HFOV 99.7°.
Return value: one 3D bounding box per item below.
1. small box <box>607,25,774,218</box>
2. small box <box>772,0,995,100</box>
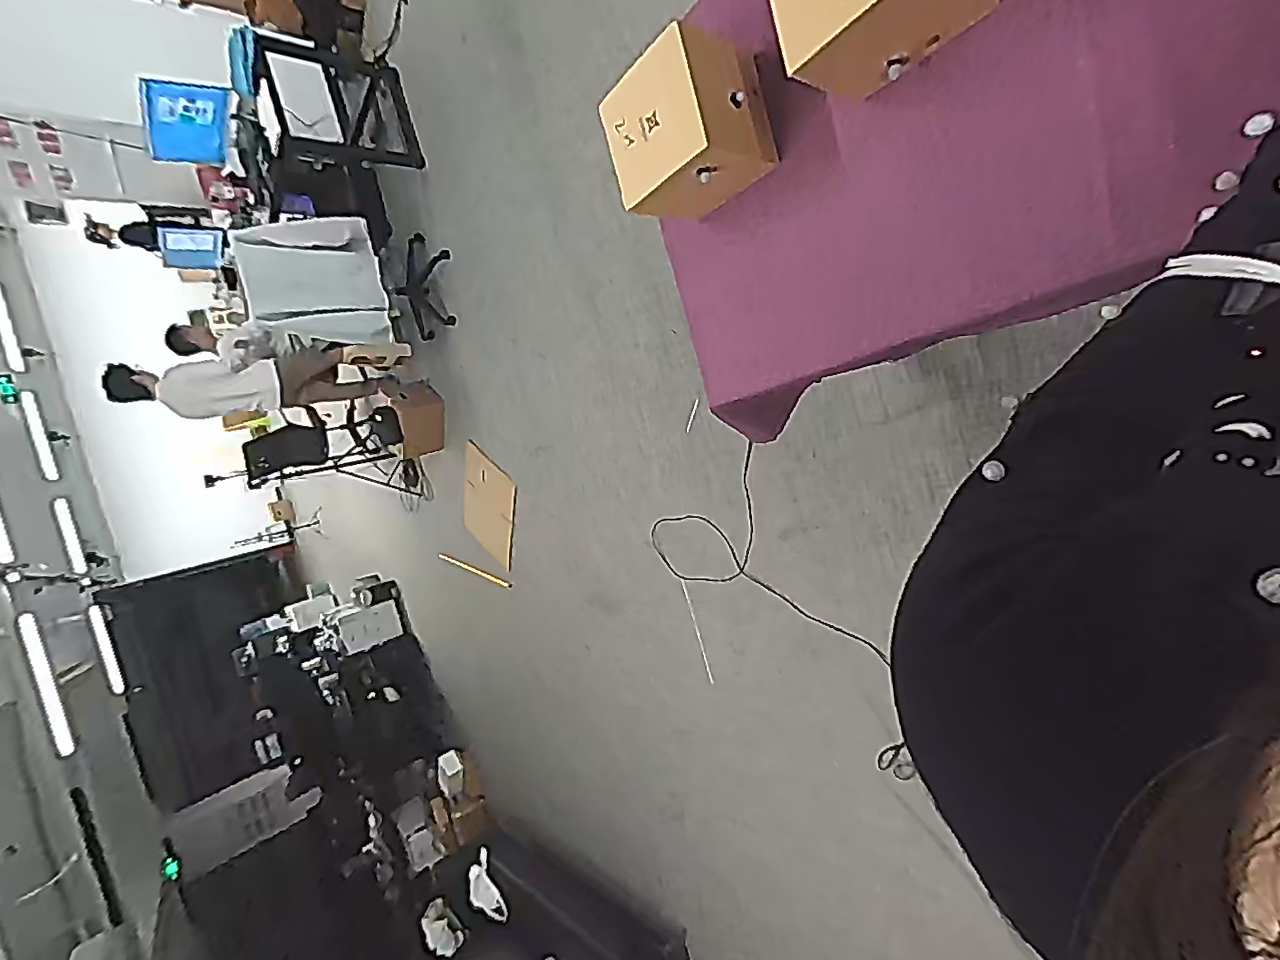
[{"bbox_3d":[0.083,-0.521,0.818,0.179,0.176,0.168,-11,94,51],"label":"small box"},{"bbox_3d":[0.260,-0.567,0.597,0.168,0.176,0.179,-11,95,51],"label":"small box"}]
